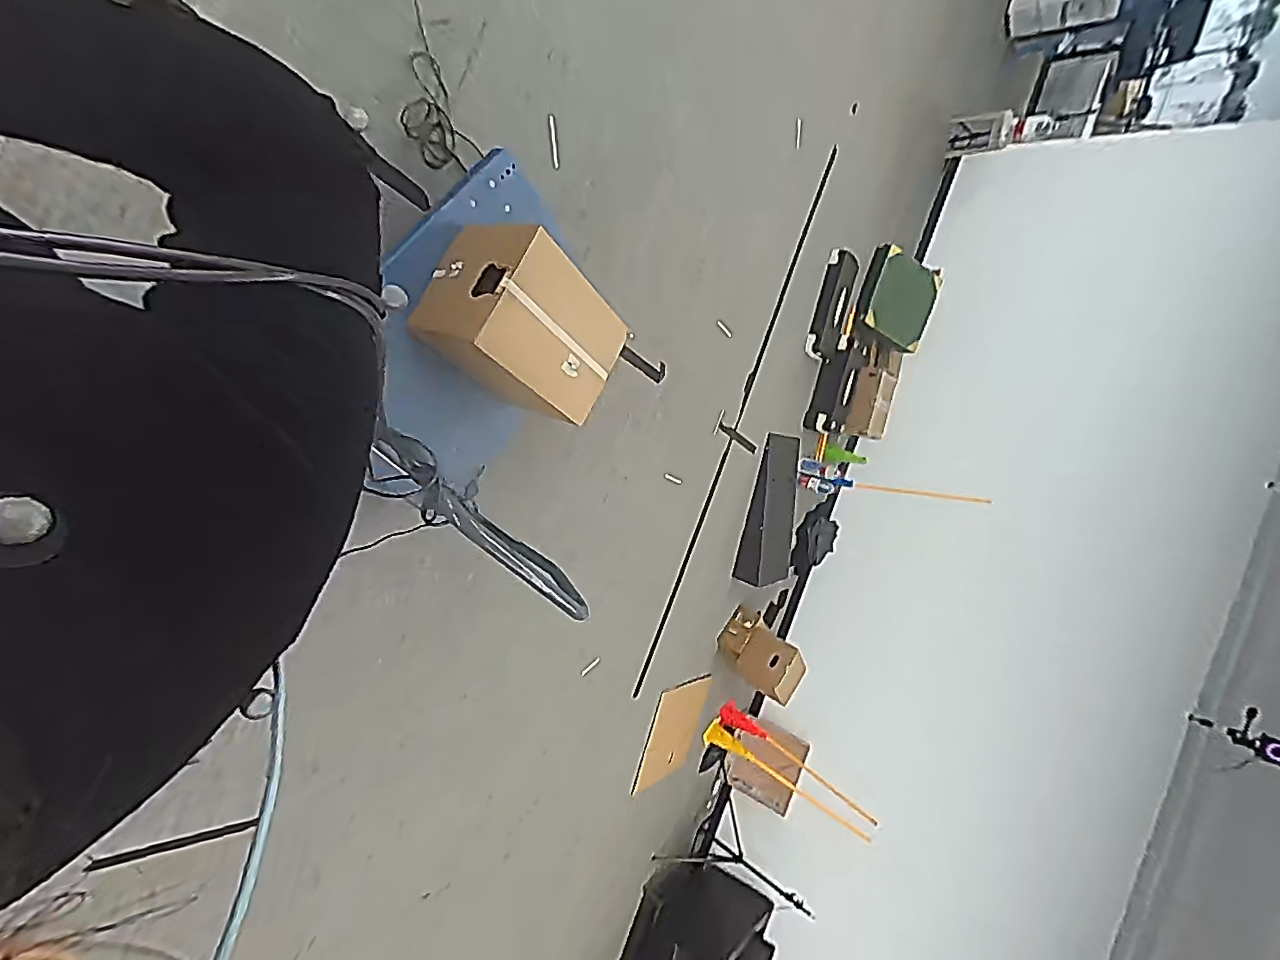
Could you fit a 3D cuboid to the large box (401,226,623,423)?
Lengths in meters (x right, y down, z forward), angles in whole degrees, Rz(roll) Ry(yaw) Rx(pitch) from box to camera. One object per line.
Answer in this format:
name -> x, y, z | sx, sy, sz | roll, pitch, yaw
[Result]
large box -> -0.320, -0.396, 1.410 | 0.408, 0.320, 0.320 | 38, 76, -53
